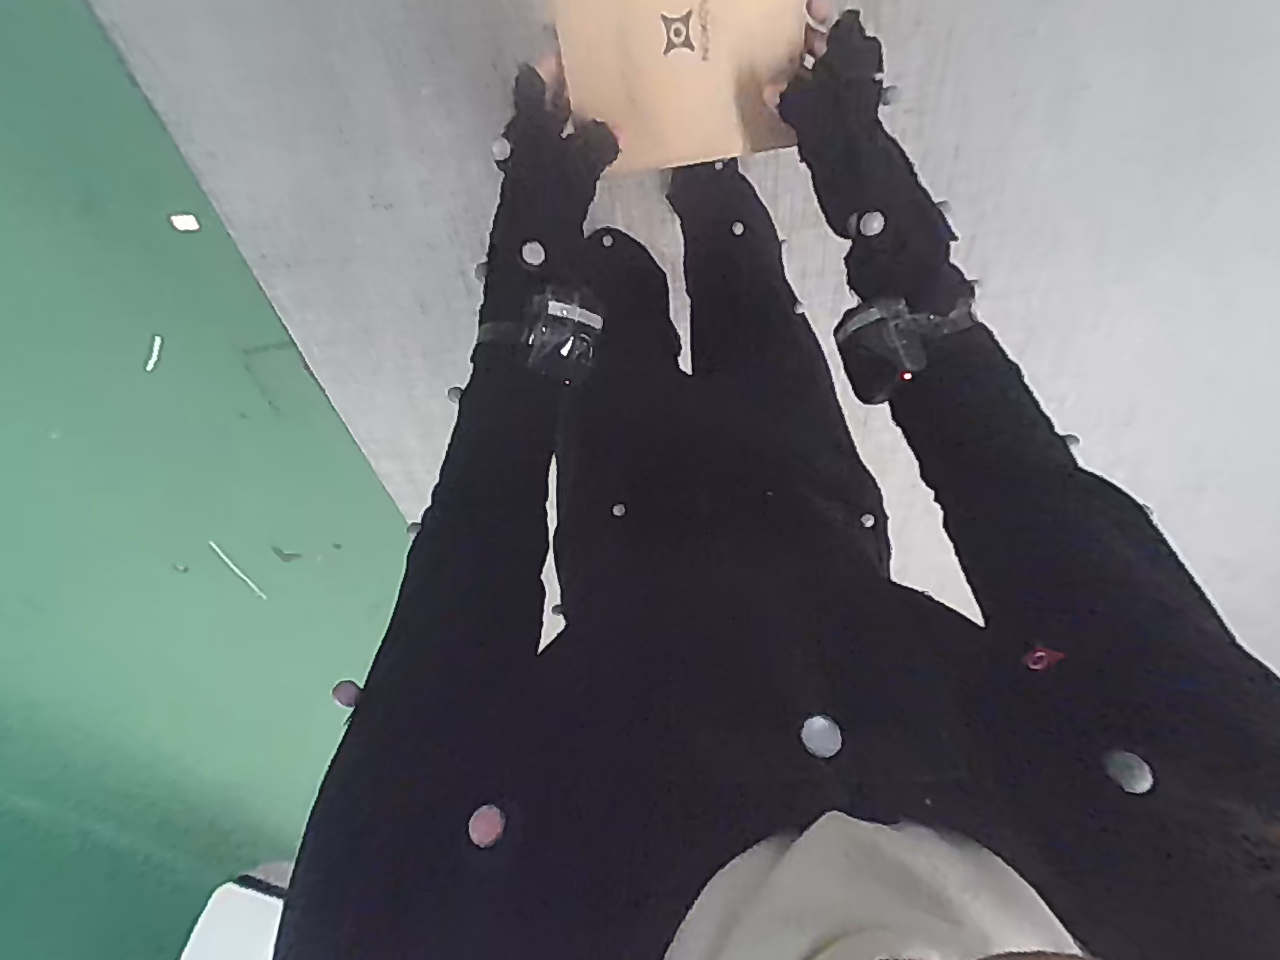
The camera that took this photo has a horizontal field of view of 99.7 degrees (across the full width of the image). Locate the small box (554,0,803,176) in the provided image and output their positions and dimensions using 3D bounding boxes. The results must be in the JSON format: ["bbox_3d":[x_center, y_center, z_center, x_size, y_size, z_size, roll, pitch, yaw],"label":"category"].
[{"bbox_3d":[0.024,-0.372,0.445,0.179,0.176,0.168,-9,129,2],"label":"small box"}]
